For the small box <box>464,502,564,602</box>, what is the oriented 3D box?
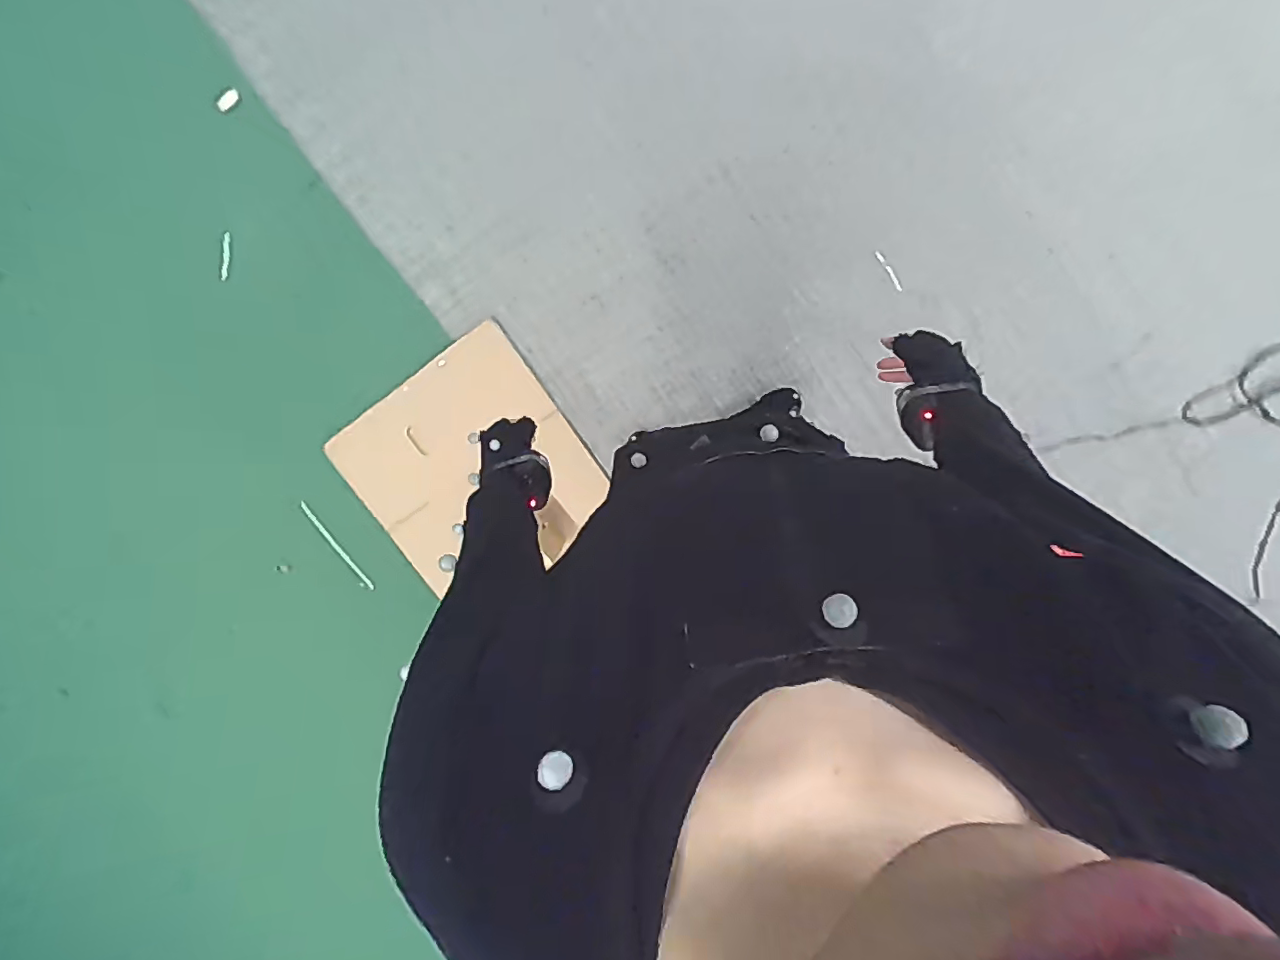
[{"bbox_3d":[-0.323,0.183,1.427,0.179,0.176,0.168,-36,99,8],"label":"small box"}]
